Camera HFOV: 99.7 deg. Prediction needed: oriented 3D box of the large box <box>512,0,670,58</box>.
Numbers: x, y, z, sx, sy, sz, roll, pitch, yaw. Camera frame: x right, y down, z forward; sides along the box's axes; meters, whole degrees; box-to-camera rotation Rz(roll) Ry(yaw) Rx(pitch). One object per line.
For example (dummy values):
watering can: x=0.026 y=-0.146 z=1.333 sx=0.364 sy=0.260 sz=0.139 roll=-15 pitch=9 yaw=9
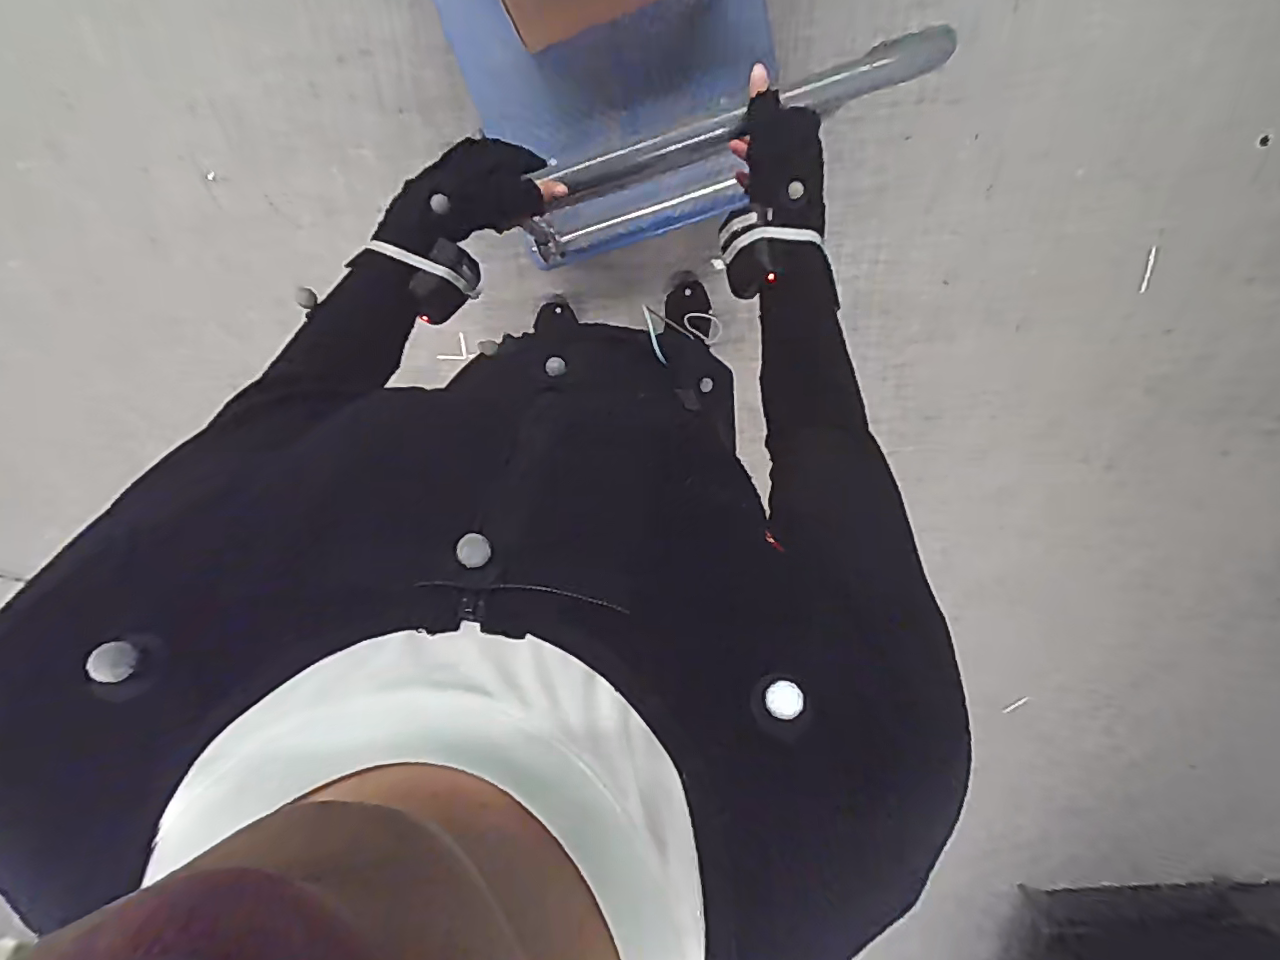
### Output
large box: x=-0.052 y=-0.937 z=0.816 sx=0.408 sy=0.320 sz=0.320 roll=-19 pitch=111 yaw=6
